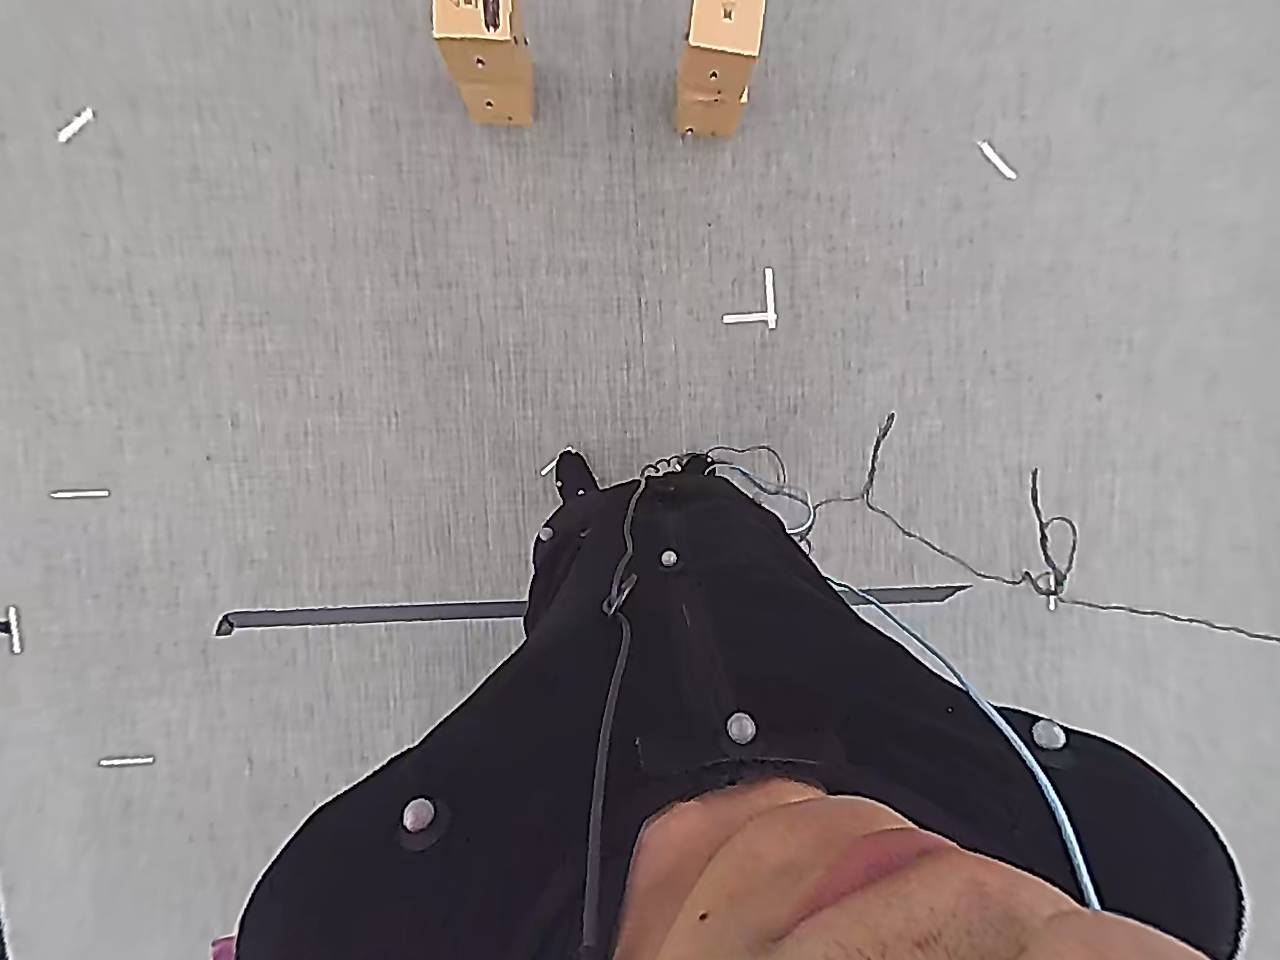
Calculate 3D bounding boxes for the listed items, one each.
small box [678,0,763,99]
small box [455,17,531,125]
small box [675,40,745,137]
[{"bbox_3d":[0.190,-1.067,1.306,0.168,0.176,0.179,7,94,-4],"label":"small box"},{"bbox_3d":[-0.385,-1.081,1.443,0.168,0.176,0.179,-1,94,-2],"label":"small box"},{"bbox_3d":[0.188,-1.068,1.471,0.168,0.176,0.179,1,93,-4],"label":"small box"}]
